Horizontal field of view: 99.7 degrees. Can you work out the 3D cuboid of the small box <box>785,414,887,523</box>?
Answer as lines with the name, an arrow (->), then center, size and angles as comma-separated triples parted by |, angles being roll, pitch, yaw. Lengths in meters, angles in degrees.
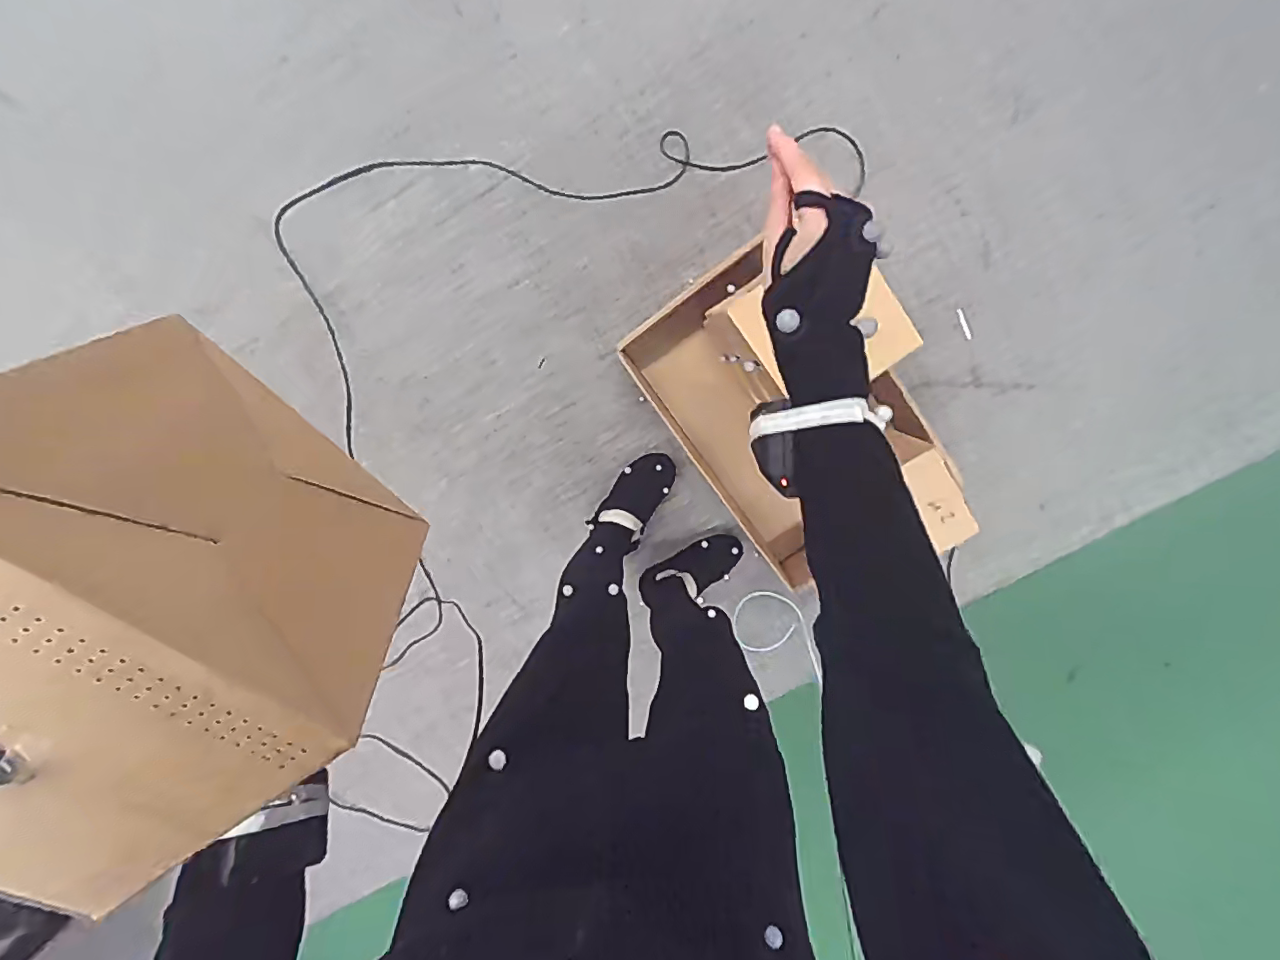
small box -> 0.417, -0.022, 1.091 | 0.168, 0.176, 0.179 | -31, 101, 8

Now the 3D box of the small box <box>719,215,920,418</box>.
small box -> 0.221, -0.209, 0.712 | 0.168, 0.176, 0.179 | -35, 100, 11

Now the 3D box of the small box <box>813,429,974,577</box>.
small box -> 0.421, 0.031, 0.935 | 0.179, 0.176, 0.168 | -31, 103, 8

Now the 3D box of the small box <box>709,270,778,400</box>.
small box -> 0.225, -0.250, 0.869 | 0.168, 0.176, 0.179 | -31, 103, 9
